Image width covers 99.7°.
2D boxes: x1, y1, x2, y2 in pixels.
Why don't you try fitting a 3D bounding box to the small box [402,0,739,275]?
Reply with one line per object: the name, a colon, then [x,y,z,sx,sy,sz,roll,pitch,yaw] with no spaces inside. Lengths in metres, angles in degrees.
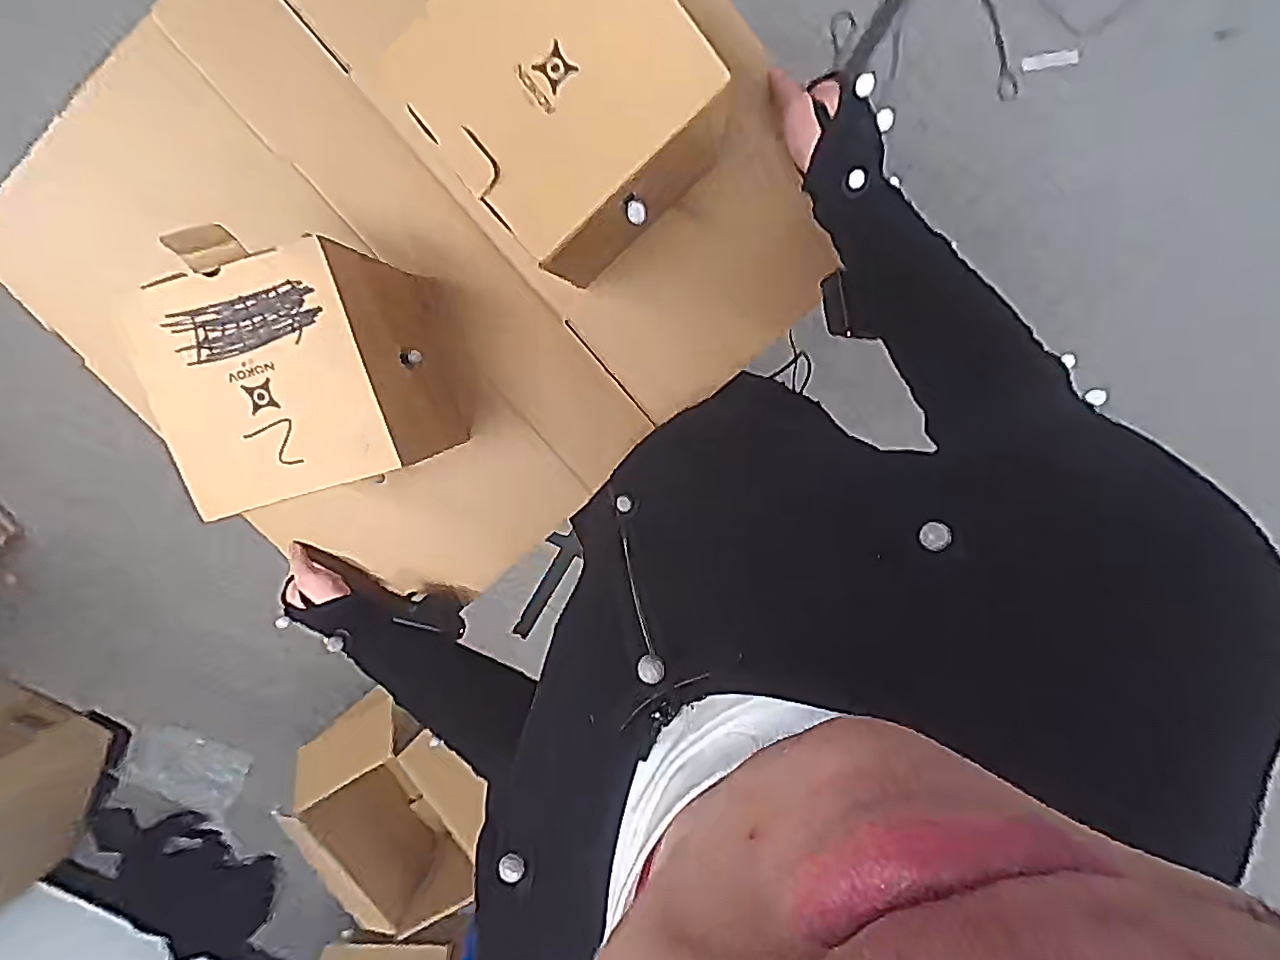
small box: [-0.044,-0.294,0.442,0.179,0.176,0.168,-38,99,13]
